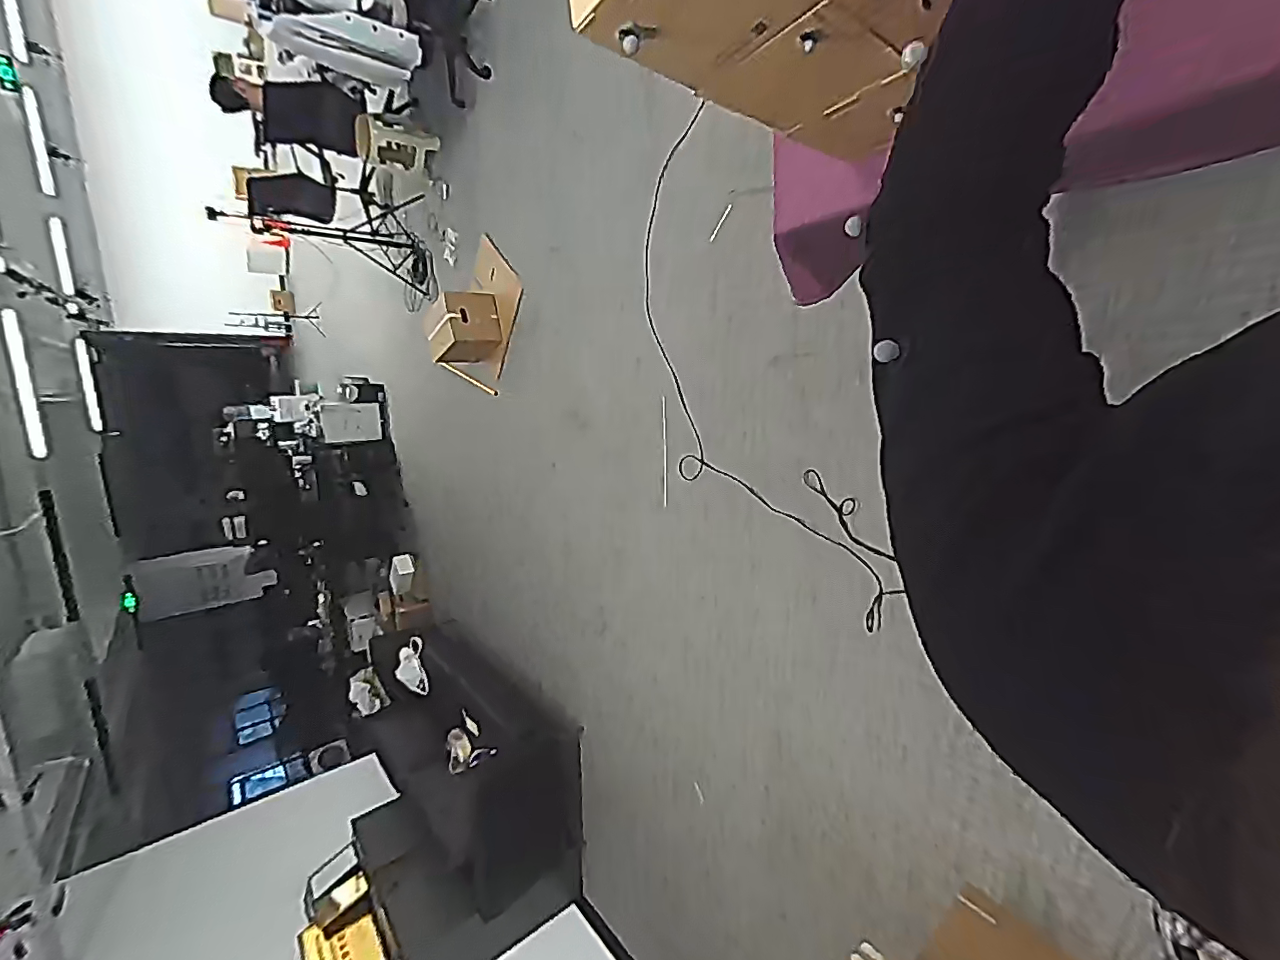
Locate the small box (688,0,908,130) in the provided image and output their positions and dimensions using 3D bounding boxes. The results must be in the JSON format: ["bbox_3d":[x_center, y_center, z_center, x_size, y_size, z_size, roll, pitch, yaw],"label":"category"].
[{"bbox_3d":[0.172,-0.529,0.600,0.179,0.176,0.168,2,99,49],"label":"small box"}]

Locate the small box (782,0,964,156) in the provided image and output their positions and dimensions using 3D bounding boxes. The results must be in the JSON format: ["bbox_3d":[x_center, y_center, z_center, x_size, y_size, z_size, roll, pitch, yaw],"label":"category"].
[{"bbox_3d":[0.299,-0.548,0.699,0.168,0.176,0.179,5,101,49],"label":"small box"}]
